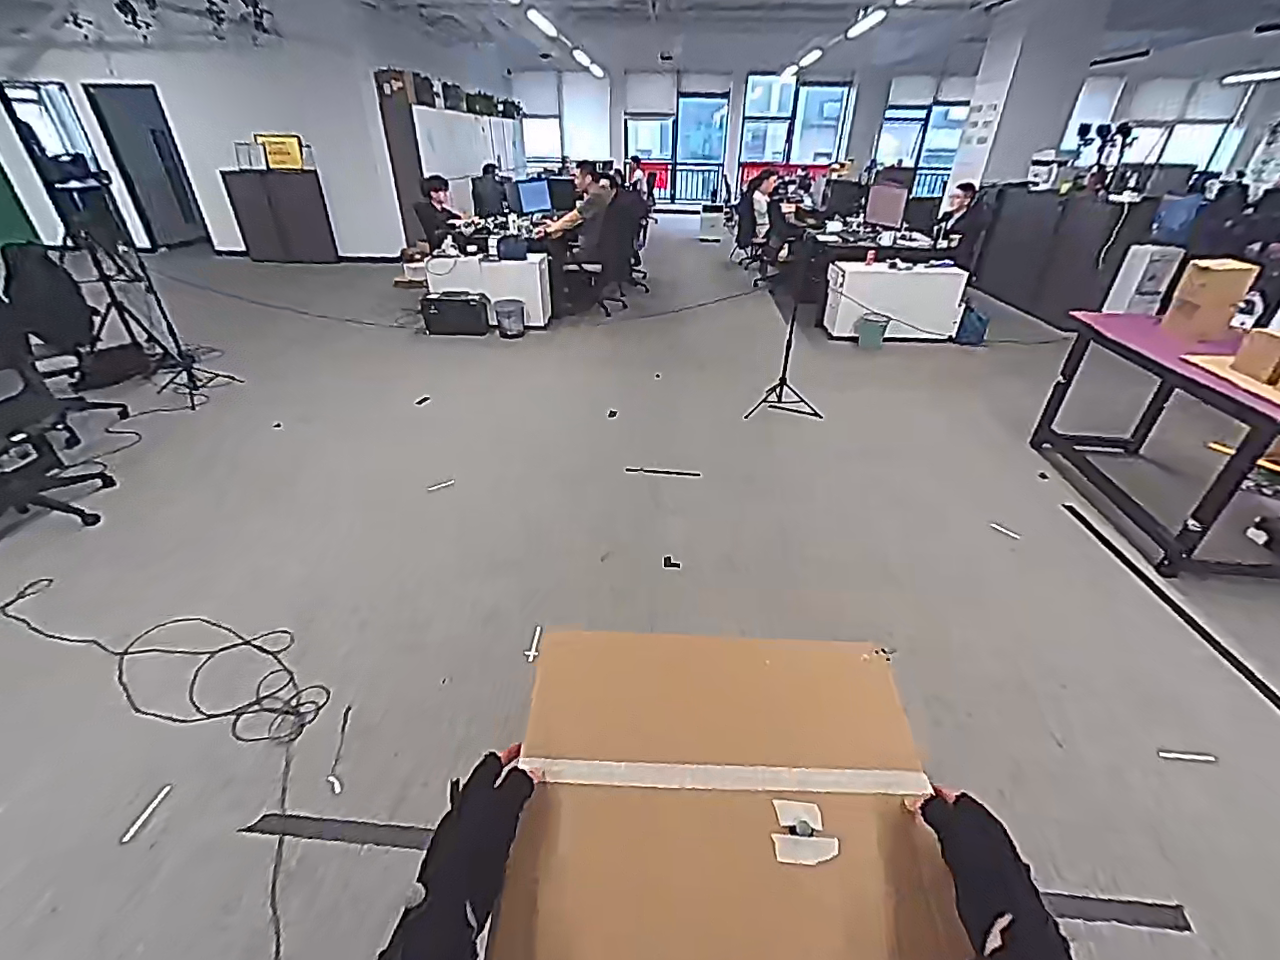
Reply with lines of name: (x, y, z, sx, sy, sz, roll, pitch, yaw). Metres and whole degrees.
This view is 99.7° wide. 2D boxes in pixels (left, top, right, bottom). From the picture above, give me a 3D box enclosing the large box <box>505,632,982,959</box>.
large box: (0.080, 0.404, 0.648, 0.408, 0.320, 0.320, 3, 43, -1)
